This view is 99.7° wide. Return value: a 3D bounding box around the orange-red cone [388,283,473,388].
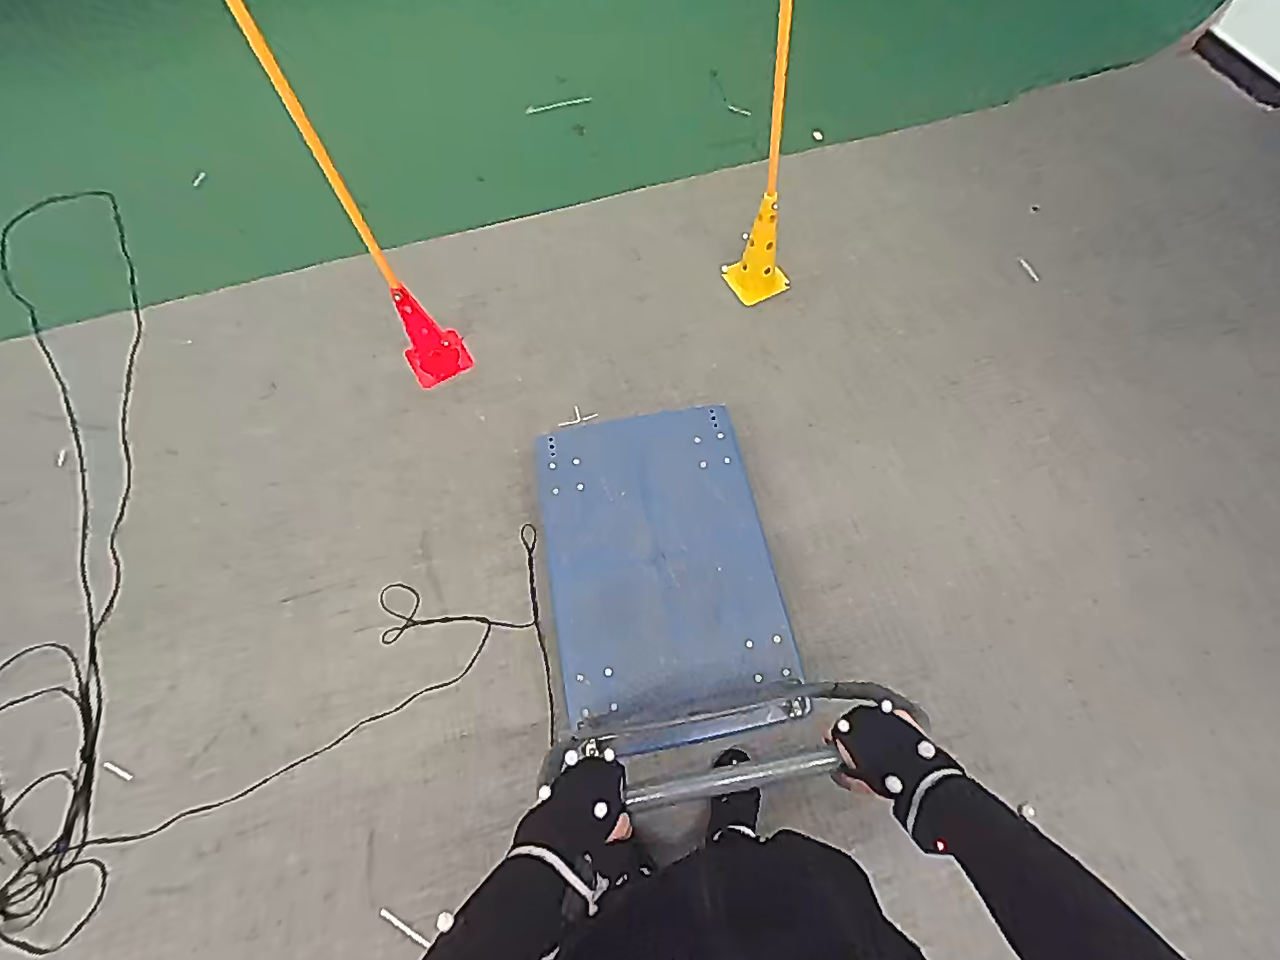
[{"bbox_3d":[-0.719,-0.497,1.760,0.199,0.360,0.198,-30,67,-9],"label":"orange-red cone"}]
